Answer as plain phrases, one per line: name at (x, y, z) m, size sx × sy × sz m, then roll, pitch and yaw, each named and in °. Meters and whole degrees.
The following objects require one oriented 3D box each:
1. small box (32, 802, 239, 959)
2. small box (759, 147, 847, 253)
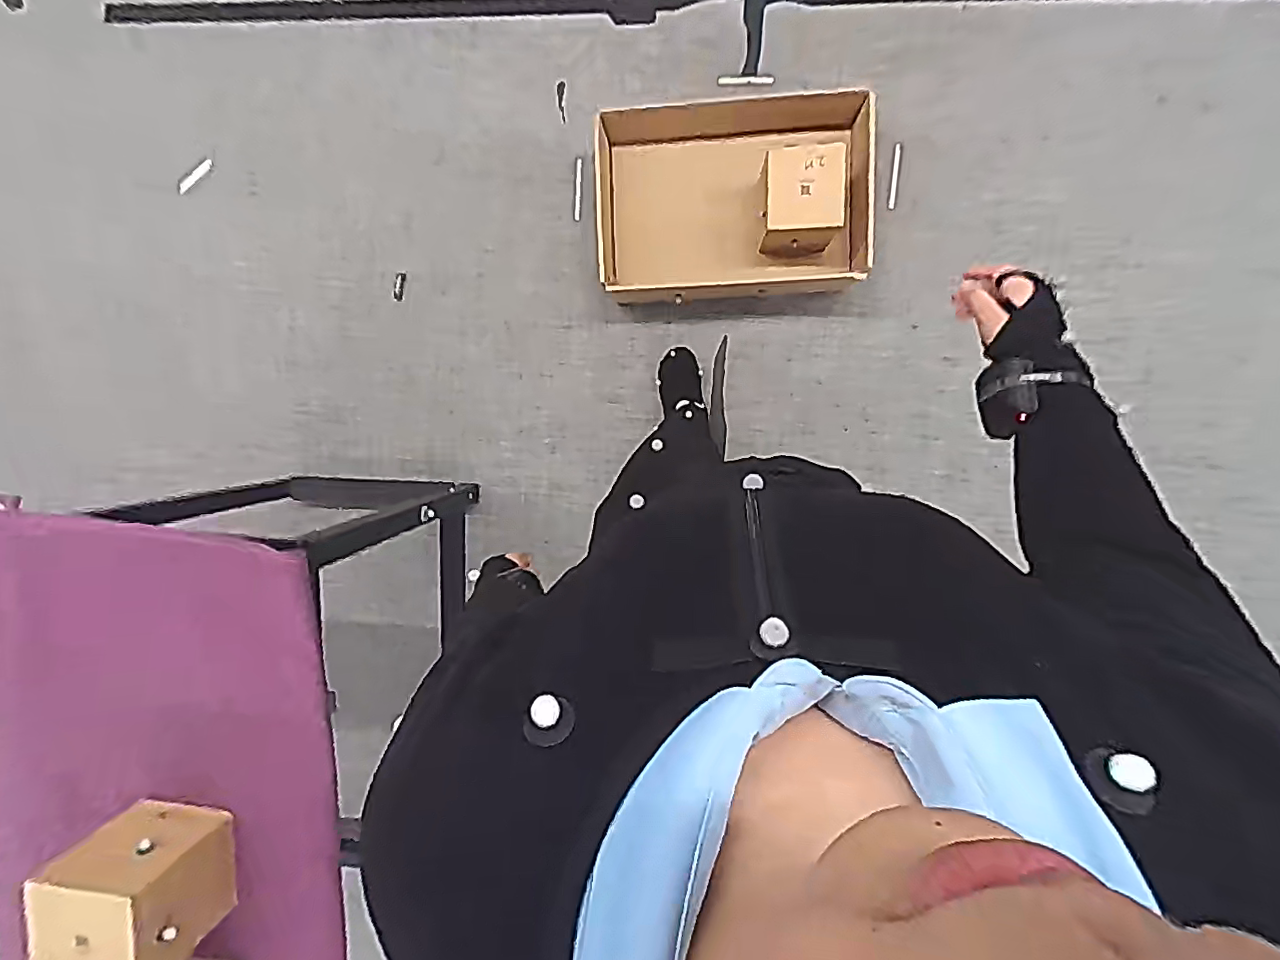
small box at (-0.757, 0.633, 0.830) m, size 0.168 × 0.176 × 0.179 m, roll 4°, pitch 98°, yaw 5°
small box at (0.371, -0.638, 1.256) m, size 0.168 × 0.176 × 0.179 m, roll 0°, pitch 96°, yaw 5°
